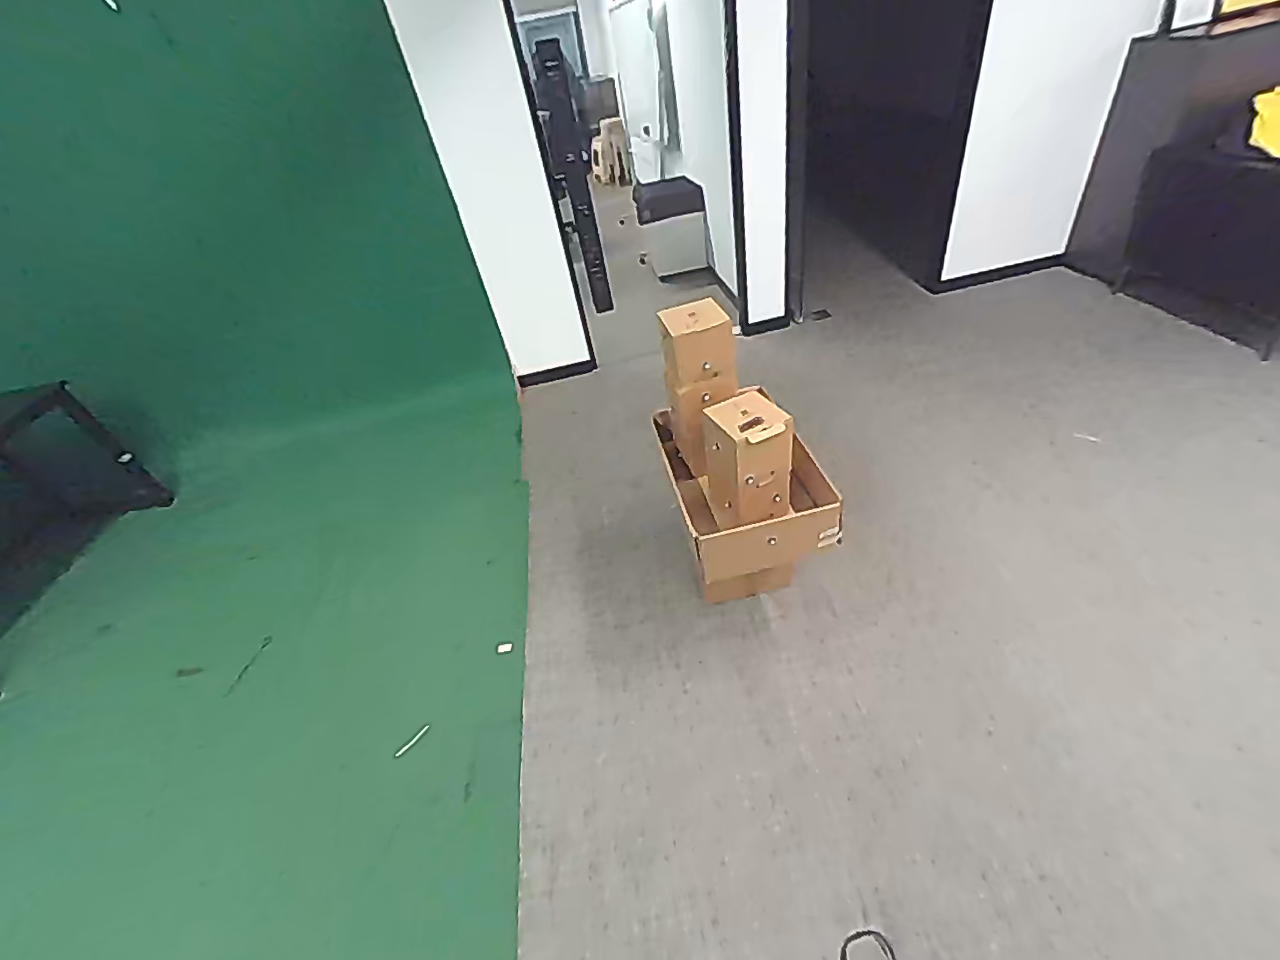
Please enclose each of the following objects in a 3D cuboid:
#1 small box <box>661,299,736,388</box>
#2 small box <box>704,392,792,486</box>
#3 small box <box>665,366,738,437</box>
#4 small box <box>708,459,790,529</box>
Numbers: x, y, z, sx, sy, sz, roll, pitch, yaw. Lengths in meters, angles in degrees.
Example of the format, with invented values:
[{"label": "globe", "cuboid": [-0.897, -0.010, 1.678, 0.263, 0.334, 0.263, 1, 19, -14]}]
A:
[{"label": "small box", "cuboid": [0.166, -0.387, 1.539, 0.168, 0.176, 0.179, -16, 41, -2]}, {"label": "small box", "cuboid": [0.287, -0.103, 1.434, 0.168, 0.176, 0.179, -21, 39, -13]}, {"label": "small box", "cuboid": [0.189, -0.256, 1.636, 0.179, 0.176, 0.168, -17, 40, -4]}, {"label": "small box", "cuboid": [0.311, 0.019, 1.540, 0.168, 0.176, 0.179, -22, 40, -12]}]
